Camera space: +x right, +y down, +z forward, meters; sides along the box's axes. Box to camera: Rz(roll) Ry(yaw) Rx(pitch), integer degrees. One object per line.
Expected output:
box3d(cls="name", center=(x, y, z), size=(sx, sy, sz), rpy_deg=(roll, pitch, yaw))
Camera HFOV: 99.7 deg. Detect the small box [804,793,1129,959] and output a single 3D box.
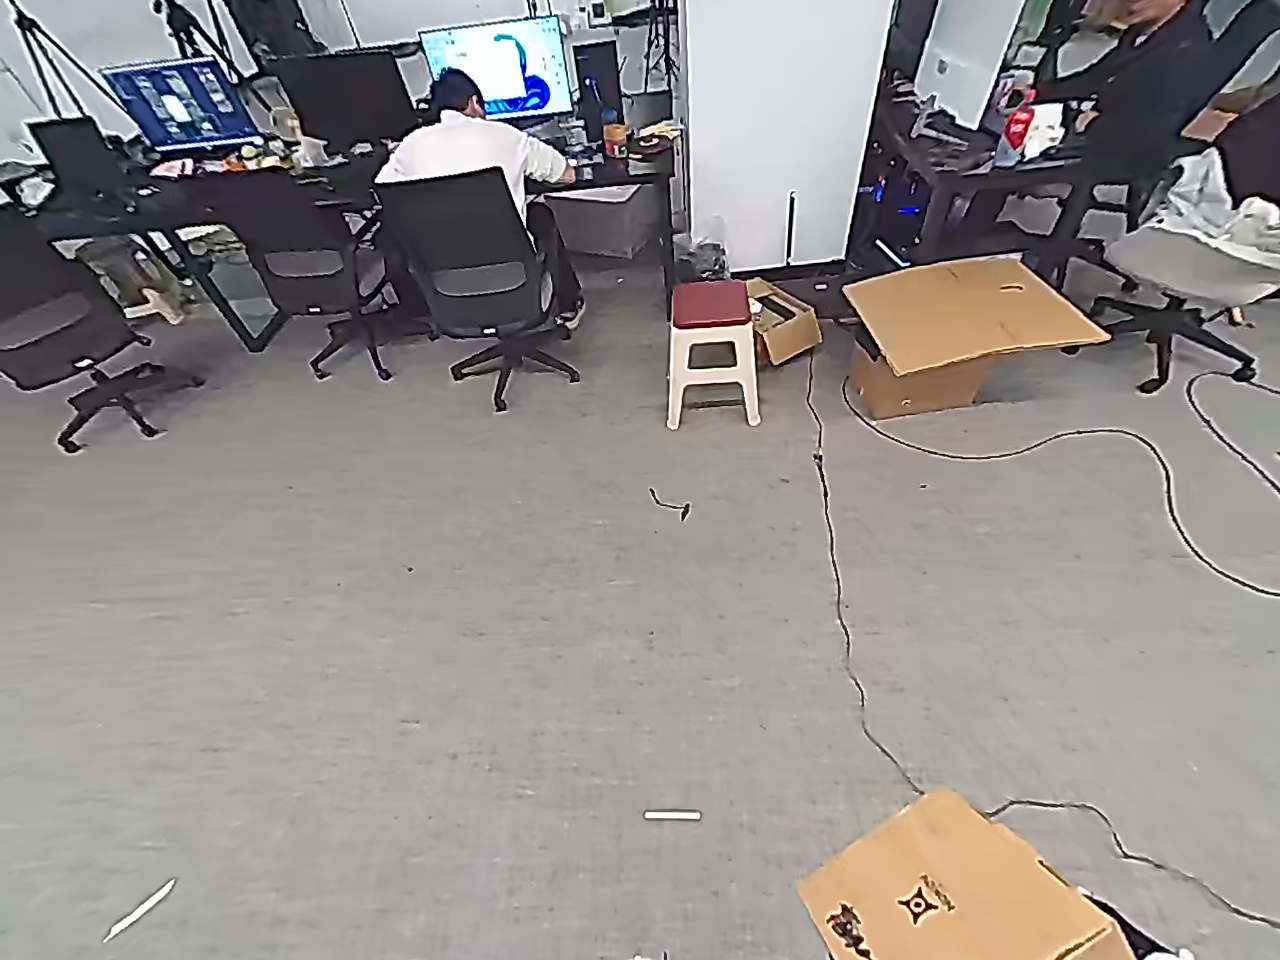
box3d(cls="small box", center=(0.274, 0.414, 0.443), size=(0.179, 0.168, 0.176), rpy_deg=(-28, 92, -7))
